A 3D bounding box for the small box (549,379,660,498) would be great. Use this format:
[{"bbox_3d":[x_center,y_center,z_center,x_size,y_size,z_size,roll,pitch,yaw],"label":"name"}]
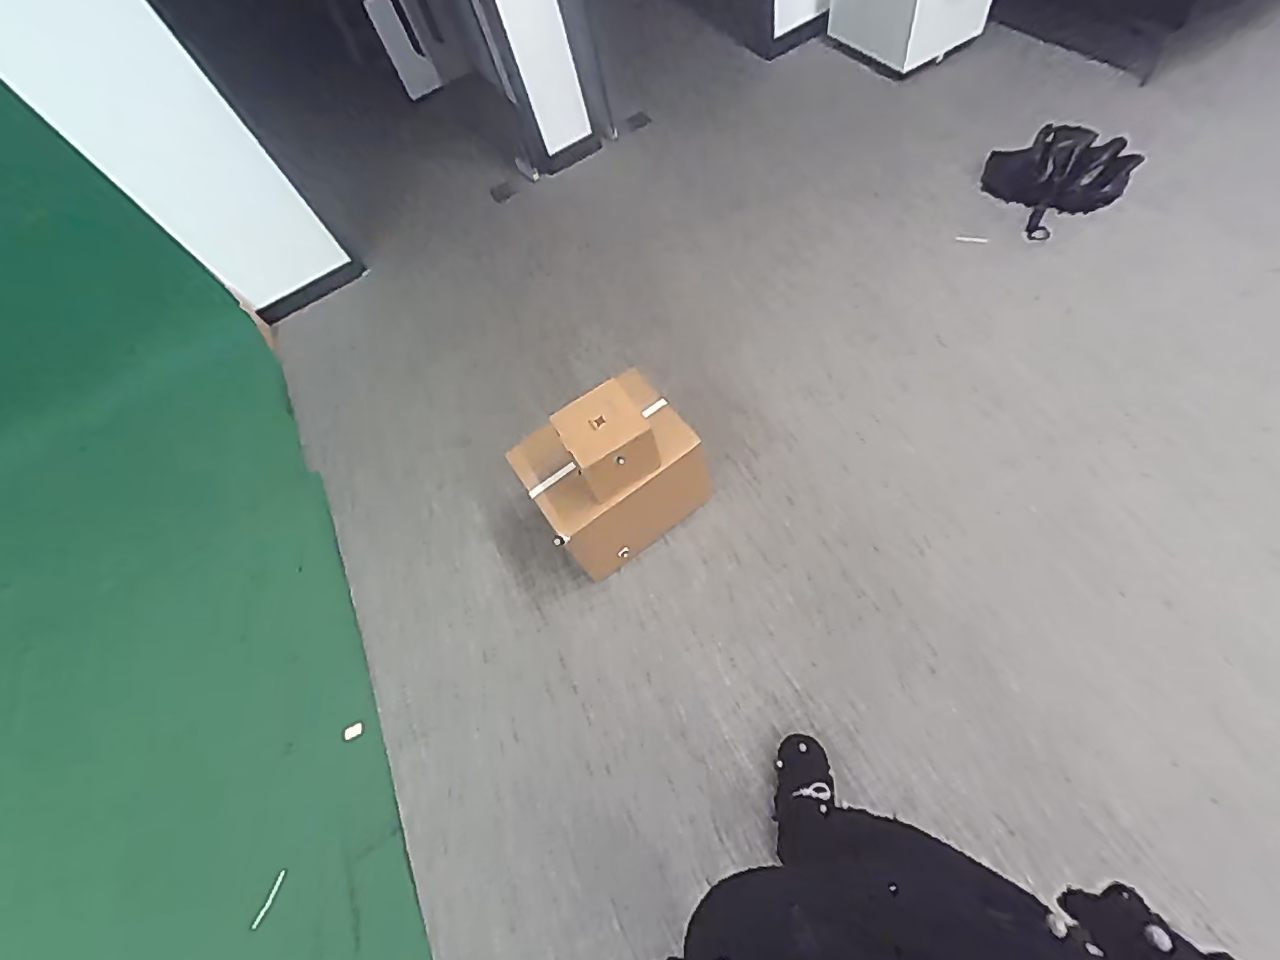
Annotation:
[{"bbox_3d":[-0.074,-0.087,1.224,0.179,0.176,0.168,-32,62,-7],"label":"small box"}]
